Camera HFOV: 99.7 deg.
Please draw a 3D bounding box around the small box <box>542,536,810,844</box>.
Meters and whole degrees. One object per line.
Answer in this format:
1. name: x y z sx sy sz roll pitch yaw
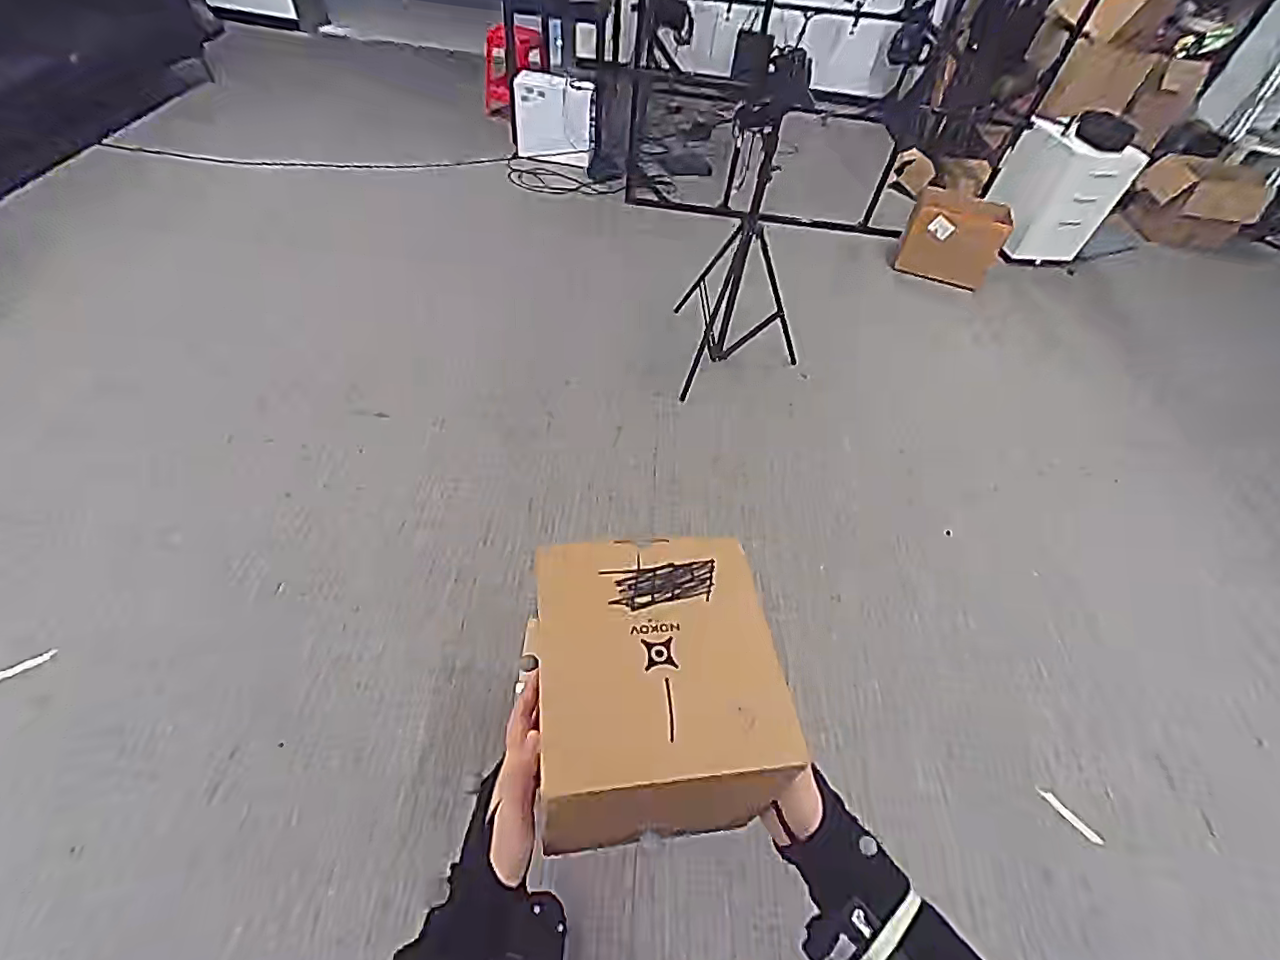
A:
1. small box: 0.006 0.165 0.434 0.168 0.176 0.179 -1 47 -10
